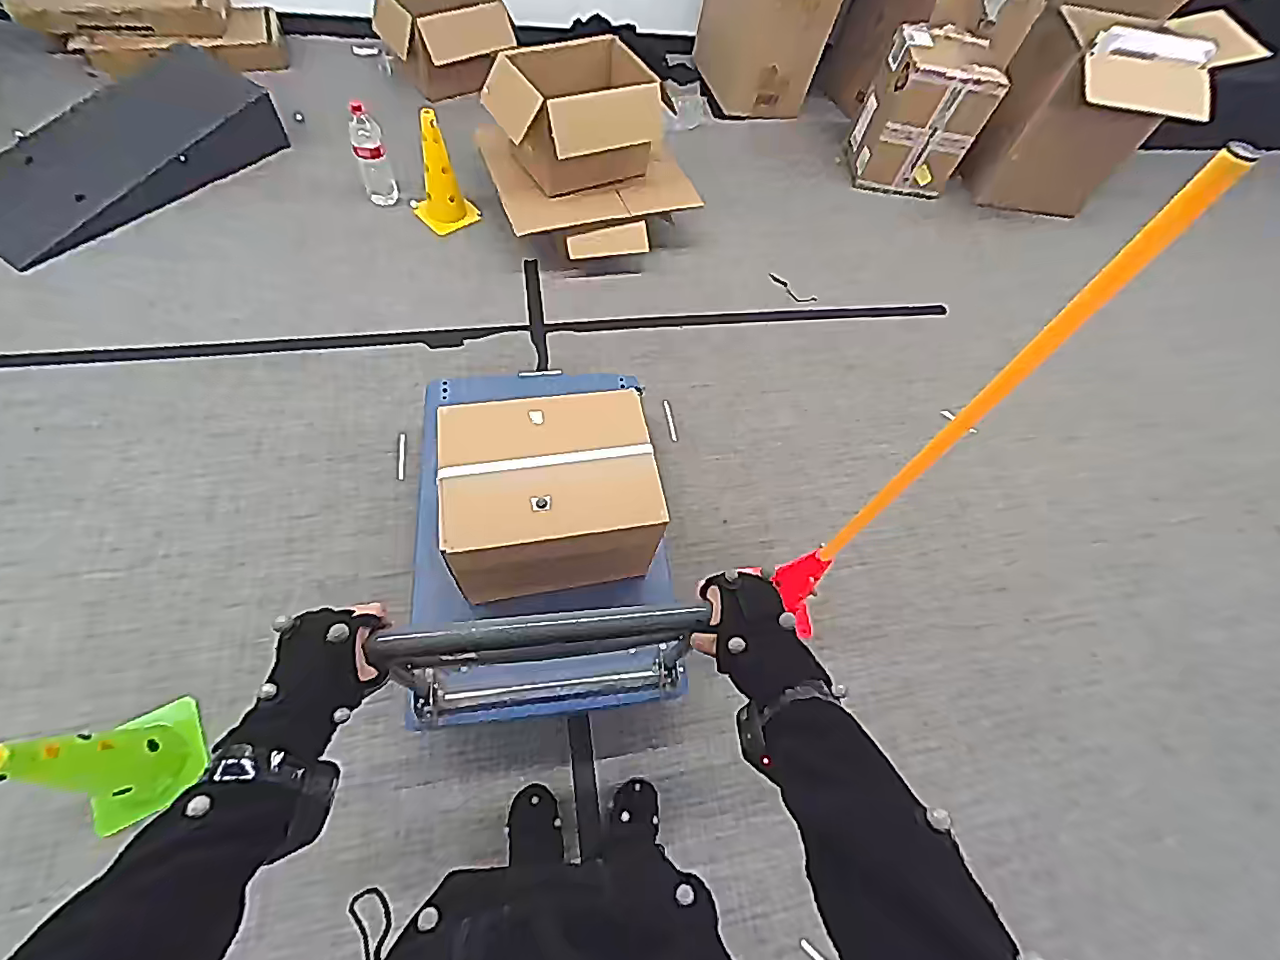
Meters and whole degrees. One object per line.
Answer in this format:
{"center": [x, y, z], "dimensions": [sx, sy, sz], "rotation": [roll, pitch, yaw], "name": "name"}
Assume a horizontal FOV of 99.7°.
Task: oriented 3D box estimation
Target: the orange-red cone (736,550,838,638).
{"center": [0.384, 0.246, 1.305], "dimensions": [0.199, 0.360, 0.198], "rotation": [0, 62, -9], "name": "orange-red cone"}
